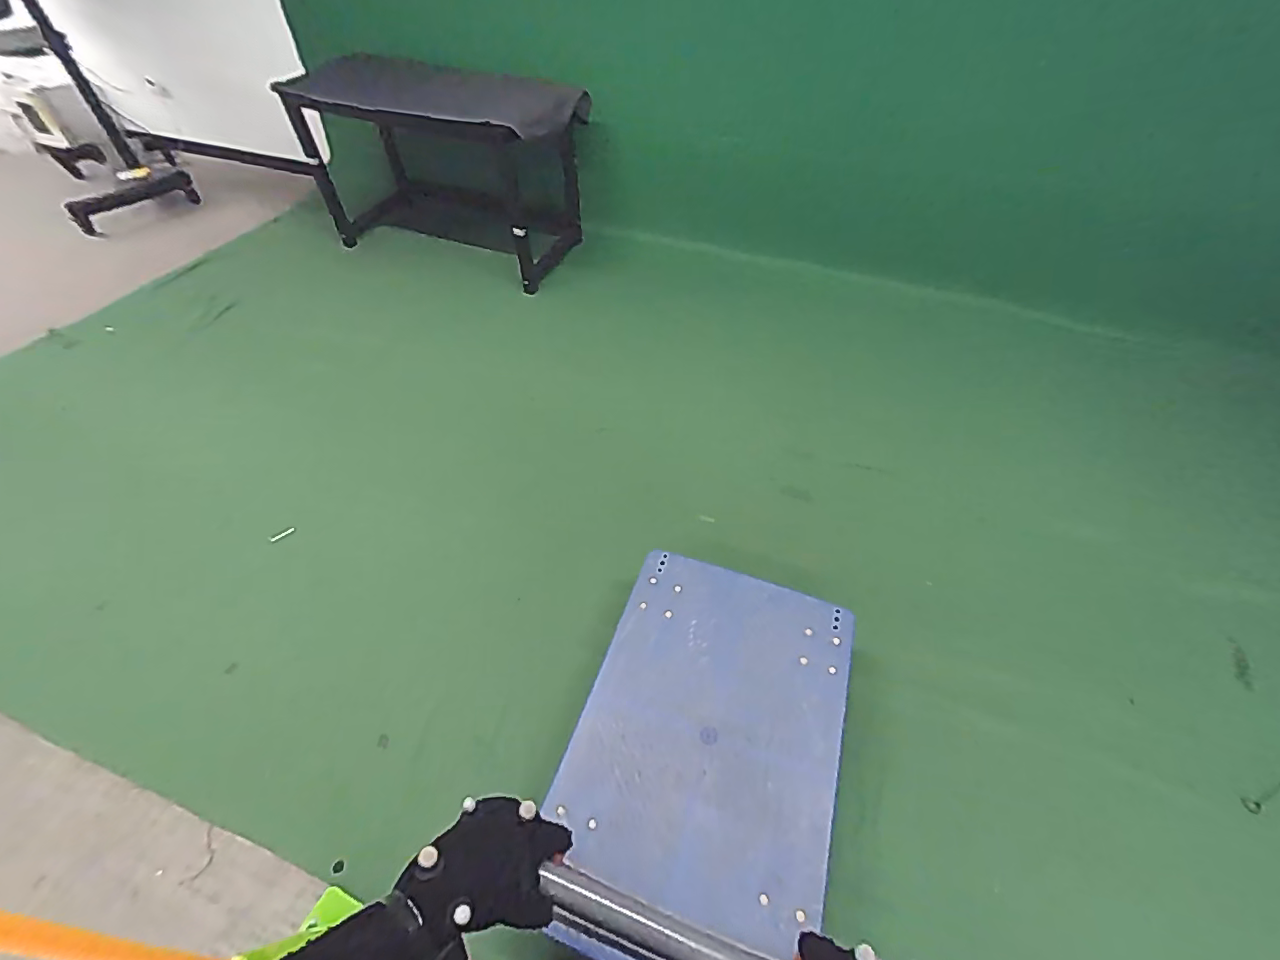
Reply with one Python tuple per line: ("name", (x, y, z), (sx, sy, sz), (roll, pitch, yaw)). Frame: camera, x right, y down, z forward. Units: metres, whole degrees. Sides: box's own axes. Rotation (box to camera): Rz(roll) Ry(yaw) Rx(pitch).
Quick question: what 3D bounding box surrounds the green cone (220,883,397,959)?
("green cone", (-0.623, 0.853, 0.963), (0.202, 0.368, 0.200), (20, 51, 16))
